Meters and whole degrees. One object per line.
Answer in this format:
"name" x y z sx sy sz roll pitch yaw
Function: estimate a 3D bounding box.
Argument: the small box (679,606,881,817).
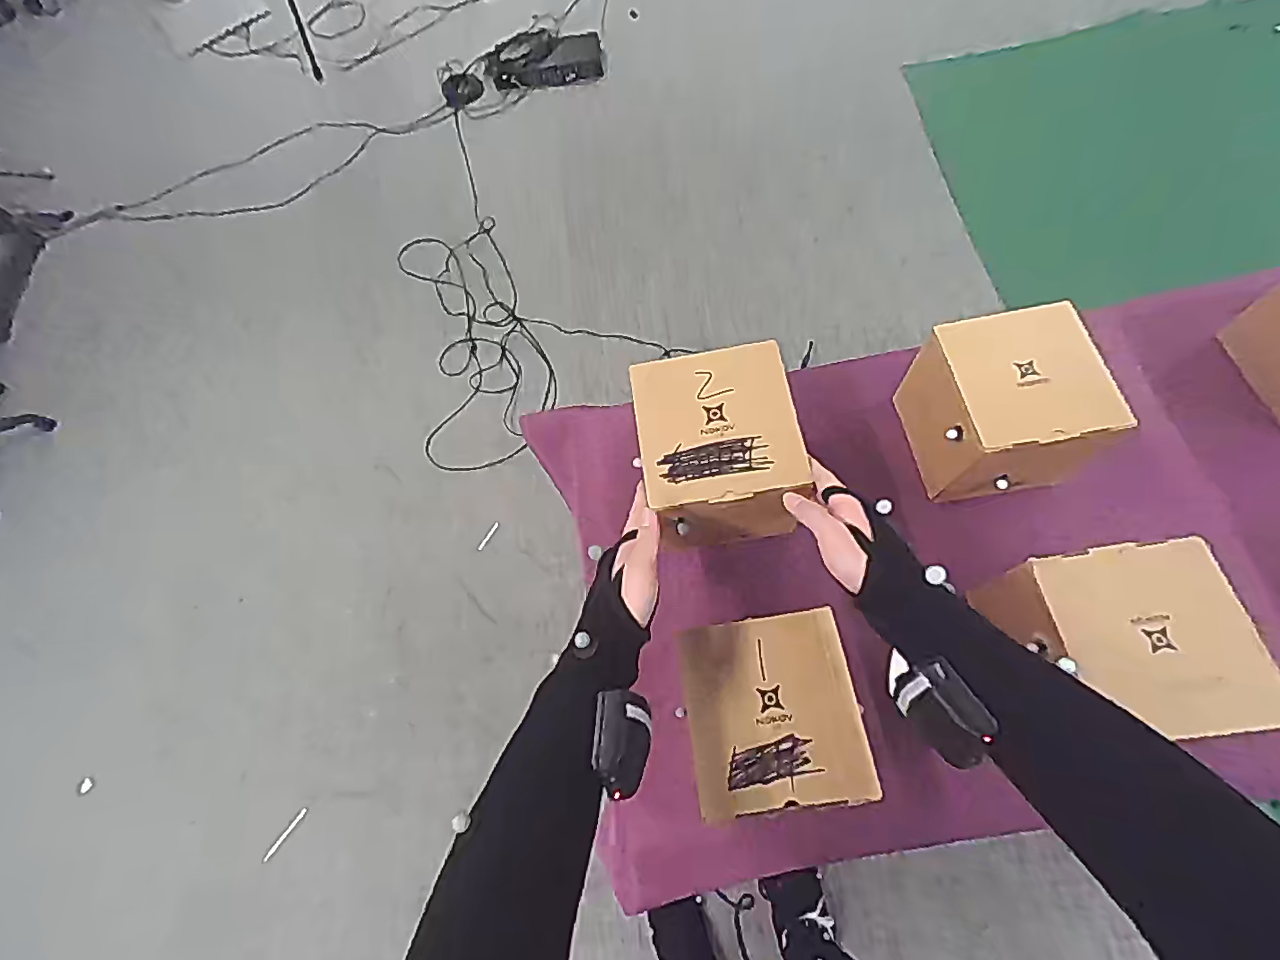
"small box" 0.141 0.250 0.599 0.168 0.176 0.179 -9 66 4

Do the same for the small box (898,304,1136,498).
"small box" 0.462 -0.094 0.701 0.168 0.176 0.179 -9 68 3

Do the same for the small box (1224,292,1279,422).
"small box" 0.909 -0.179 0.667 0.168 0.176 0.179 -12 67 6
